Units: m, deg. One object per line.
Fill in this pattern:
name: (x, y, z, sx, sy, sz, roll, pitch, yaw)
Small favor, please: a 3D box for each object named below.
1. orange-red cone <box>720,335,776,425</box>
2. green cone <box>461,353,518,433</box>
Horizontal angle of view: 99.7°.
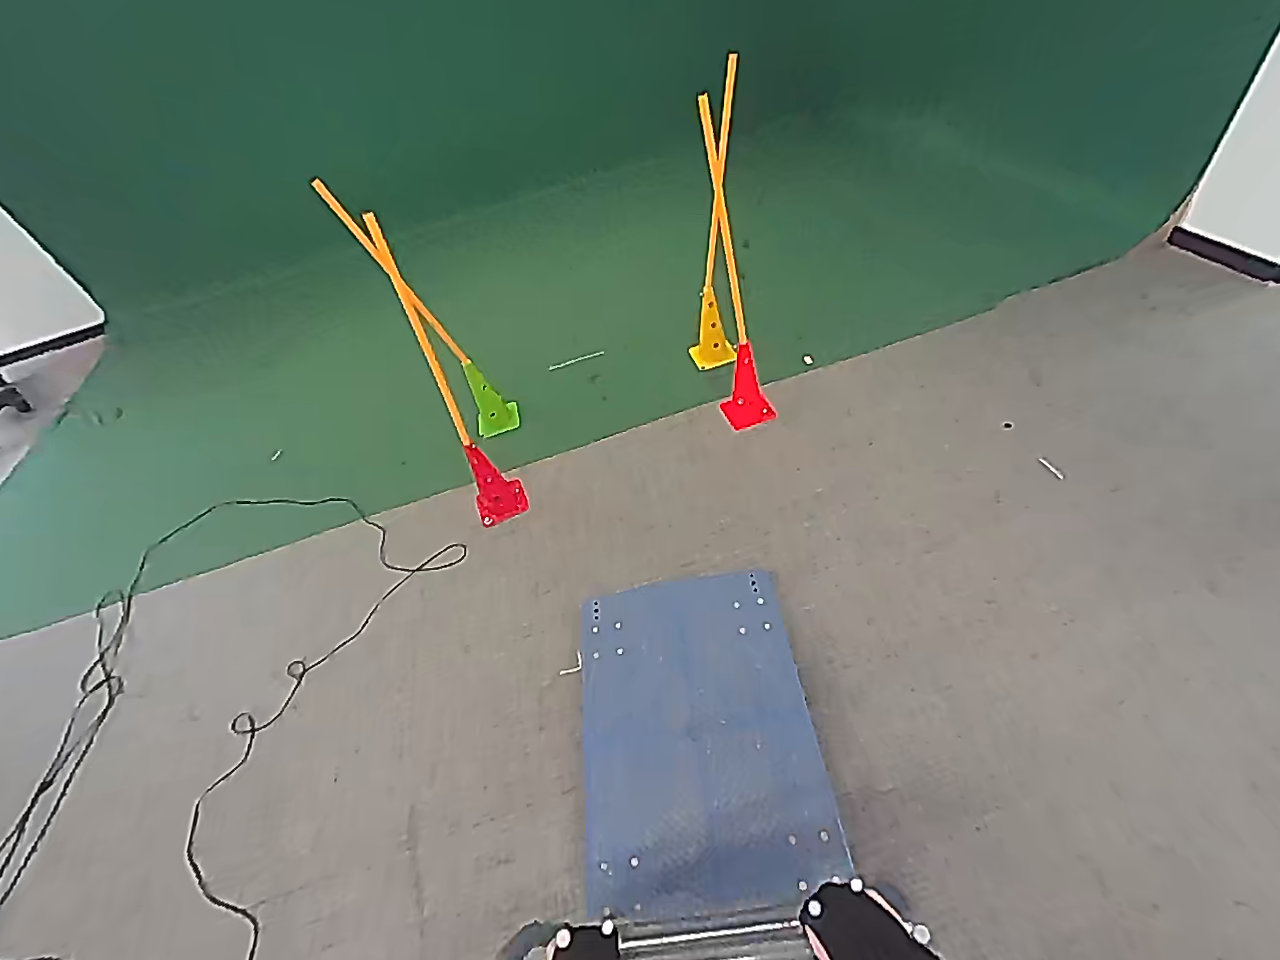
orange-red cone: (0.431, -0.432, 2.209, 0.198, 0.360, 0.199, -18, 46, -3)
green cone: (-0.725, -0.424, 2.489, 0.200, 0.368, 0.202, -19, 46, -2)
